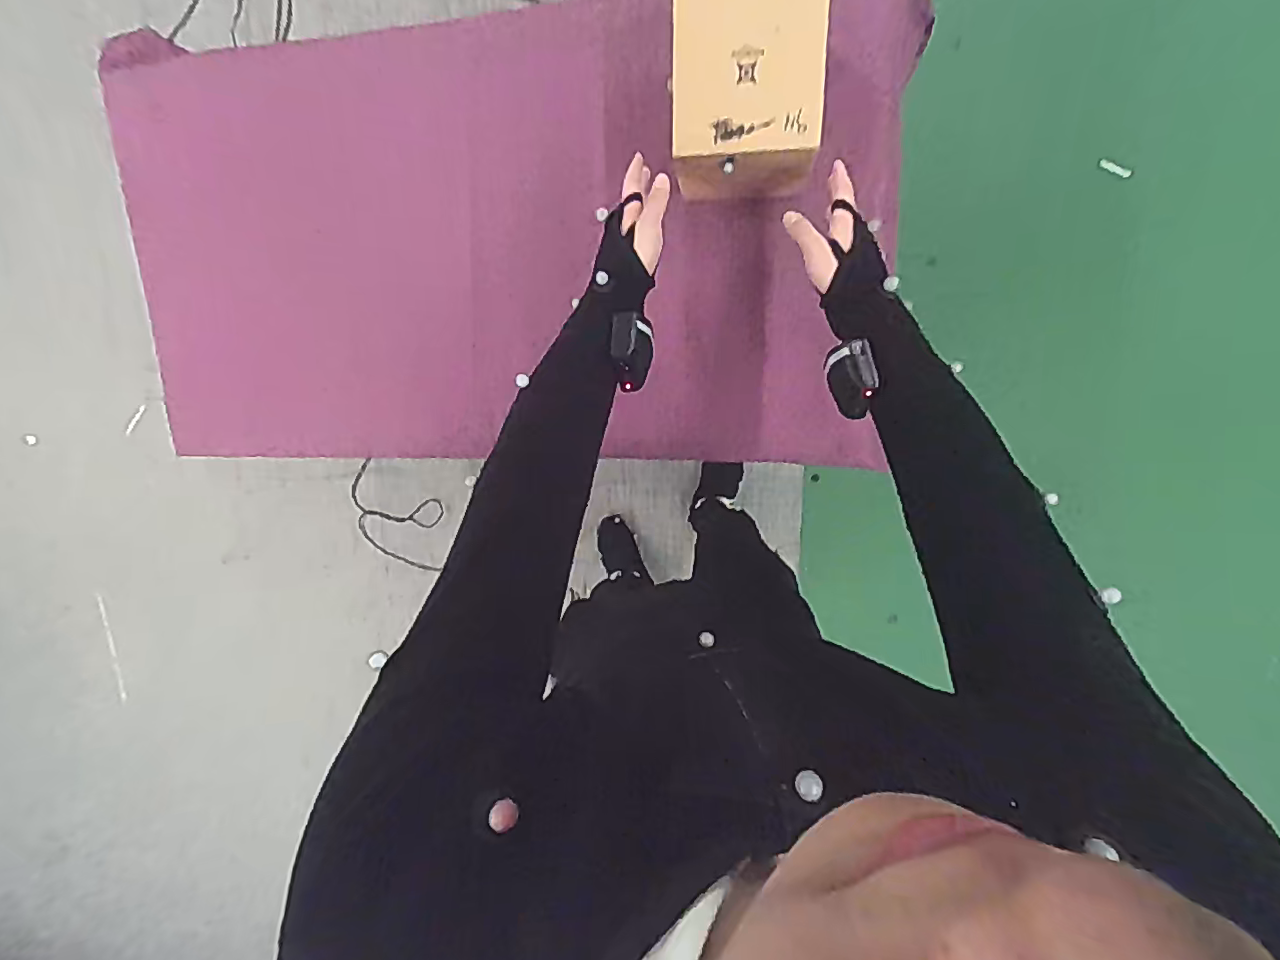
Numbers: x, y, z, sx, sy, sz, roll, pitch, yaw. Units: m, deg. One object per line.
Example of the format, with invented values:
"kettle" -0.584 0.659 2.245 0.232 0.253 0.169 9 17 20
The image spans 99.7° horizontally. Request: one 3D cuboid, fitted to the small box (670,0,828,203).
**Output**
"small box" 0.128 -0.464 0.669 0.168 0.176 0.179 2 102 9
